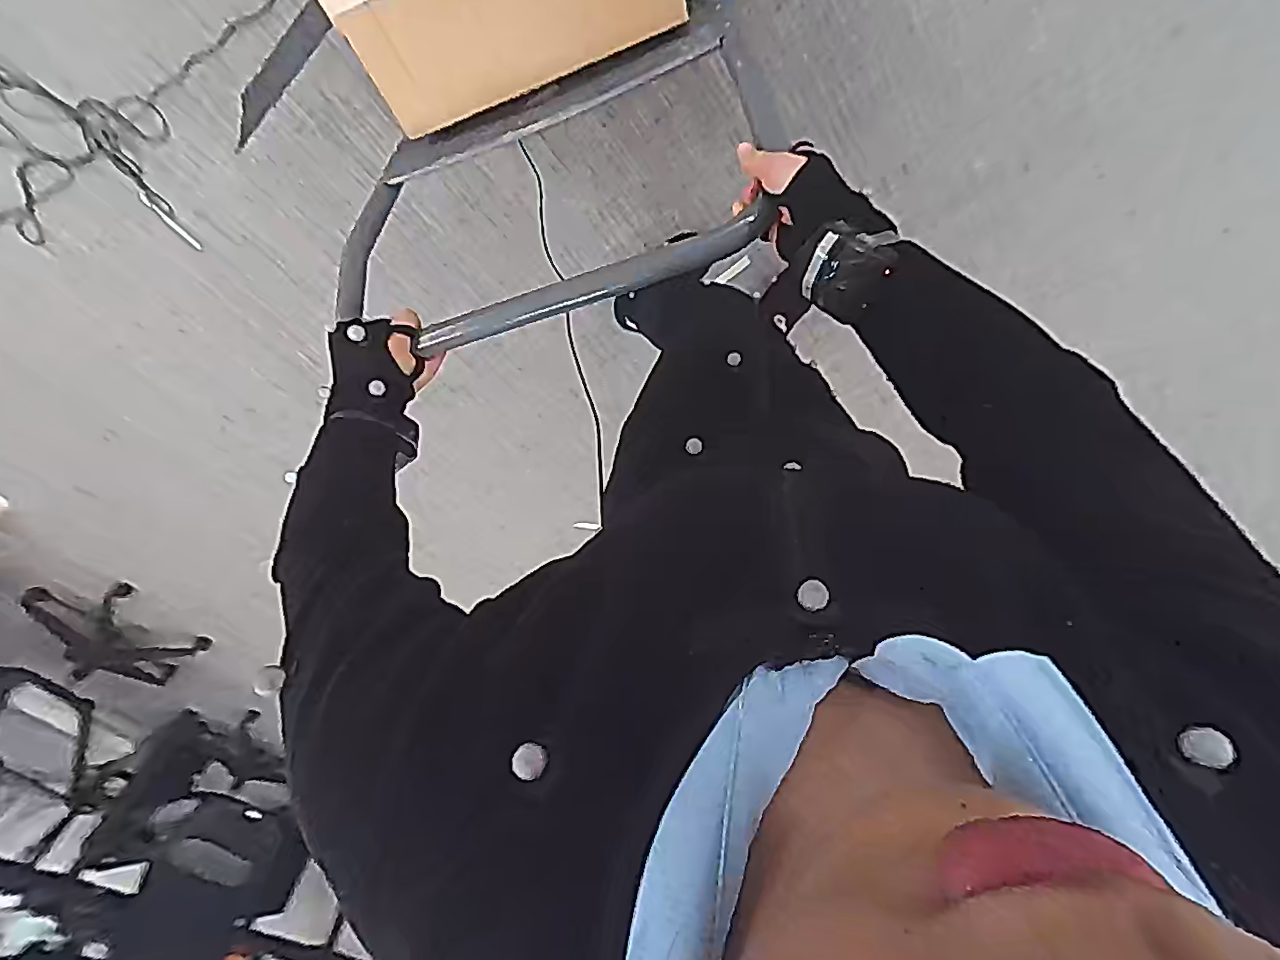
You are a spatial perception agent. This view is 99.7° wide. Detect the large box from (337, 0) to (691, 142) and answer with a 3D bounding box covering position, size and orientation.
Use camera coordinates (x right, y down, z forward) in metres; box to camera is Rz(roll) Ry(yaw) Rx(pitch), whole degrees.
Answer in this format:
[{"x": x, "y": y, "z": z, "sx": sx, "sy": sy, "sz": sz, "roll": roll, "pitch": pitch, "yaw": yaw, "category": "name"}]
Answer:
[{"x": -0.178, "y": -0.724, "z": 0.699, "sx": 0.408, "sy": 0.320, "sz": 0.320, "roll": -15, "pitch": 139, "yaw": 13, "category": "large box"}]
